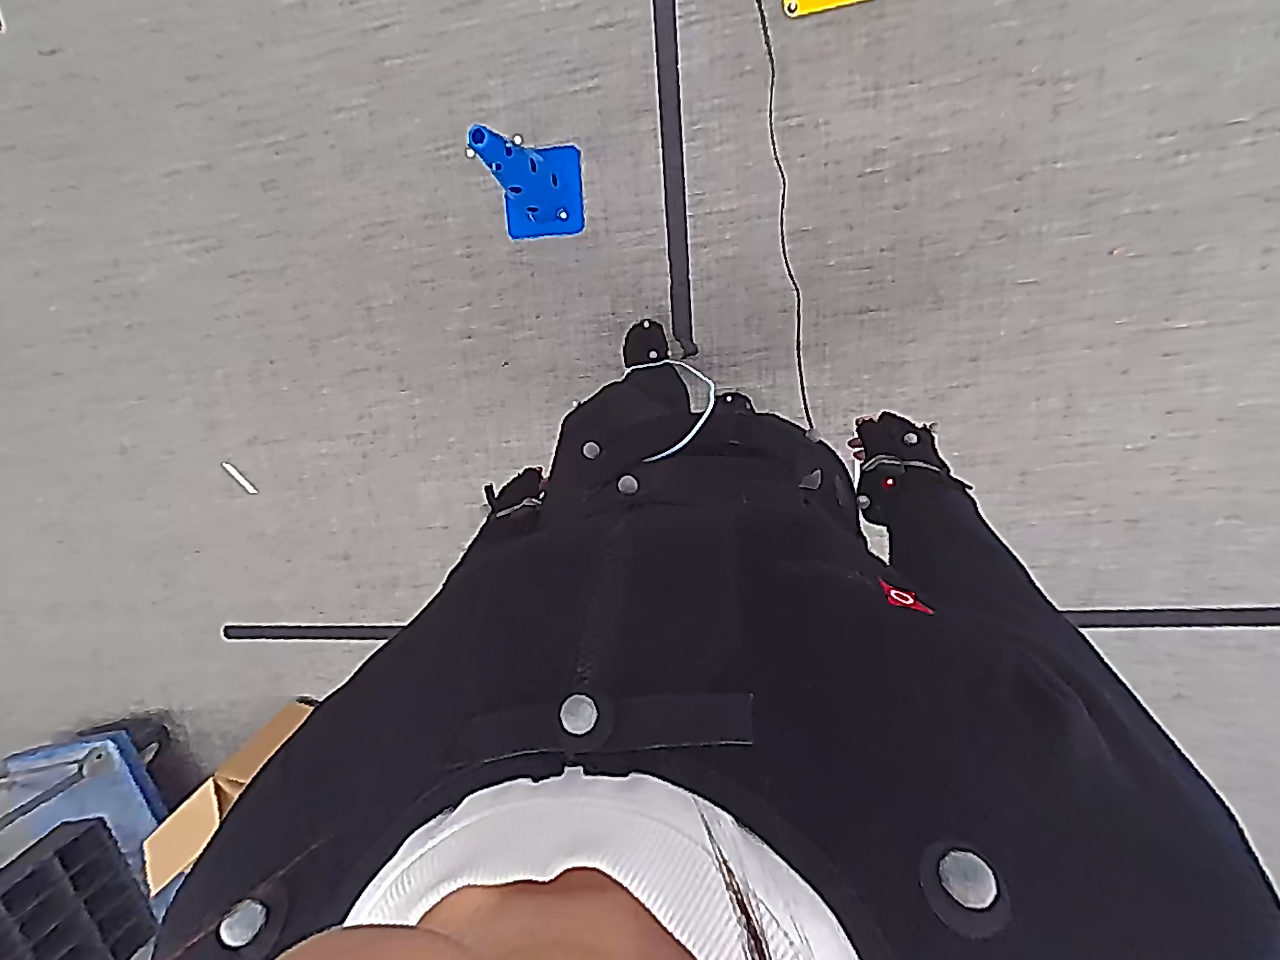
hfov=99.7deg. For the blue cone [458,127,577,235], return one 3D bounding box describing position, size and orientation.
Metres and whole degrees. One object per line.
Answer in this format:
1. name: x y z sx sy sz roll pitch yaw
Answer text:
1. blue cone: -0.277 -0.675 1.174 0.192 0.380 0.193 2 103 11
